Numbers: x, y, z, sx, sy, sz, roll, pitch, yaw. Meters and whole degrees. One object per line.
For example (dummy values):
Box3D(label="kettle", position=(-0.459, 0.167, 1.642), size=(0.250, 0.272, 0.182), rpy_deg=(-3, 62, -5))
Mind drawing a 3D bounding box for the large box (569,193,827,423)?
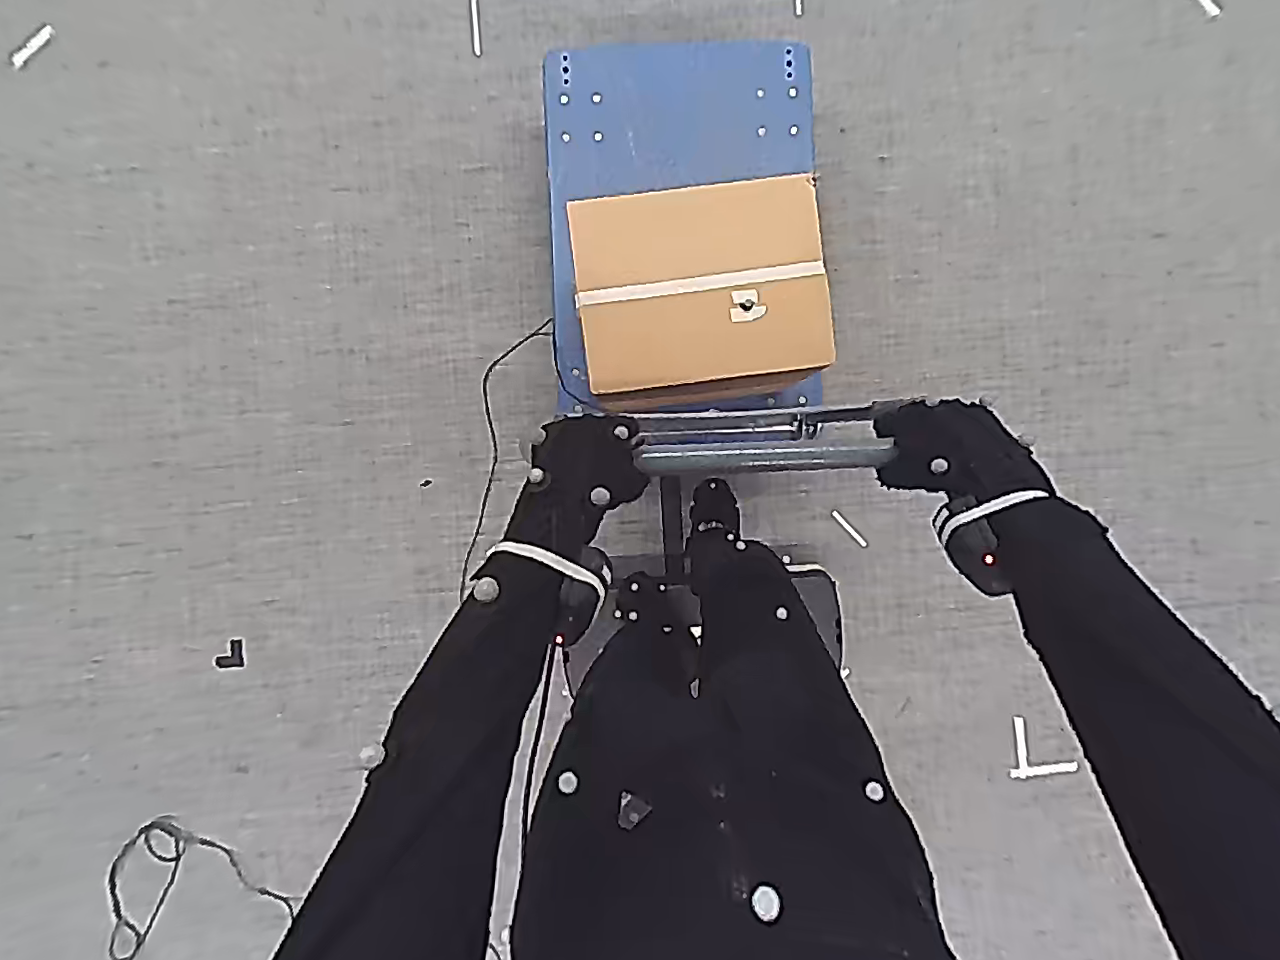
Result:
Box3D(label="large box", position=(0.093, -0.302, 1.048), size=(0.408, 0.320, 0.320), rpy_deg=(-8, 92, -2))
